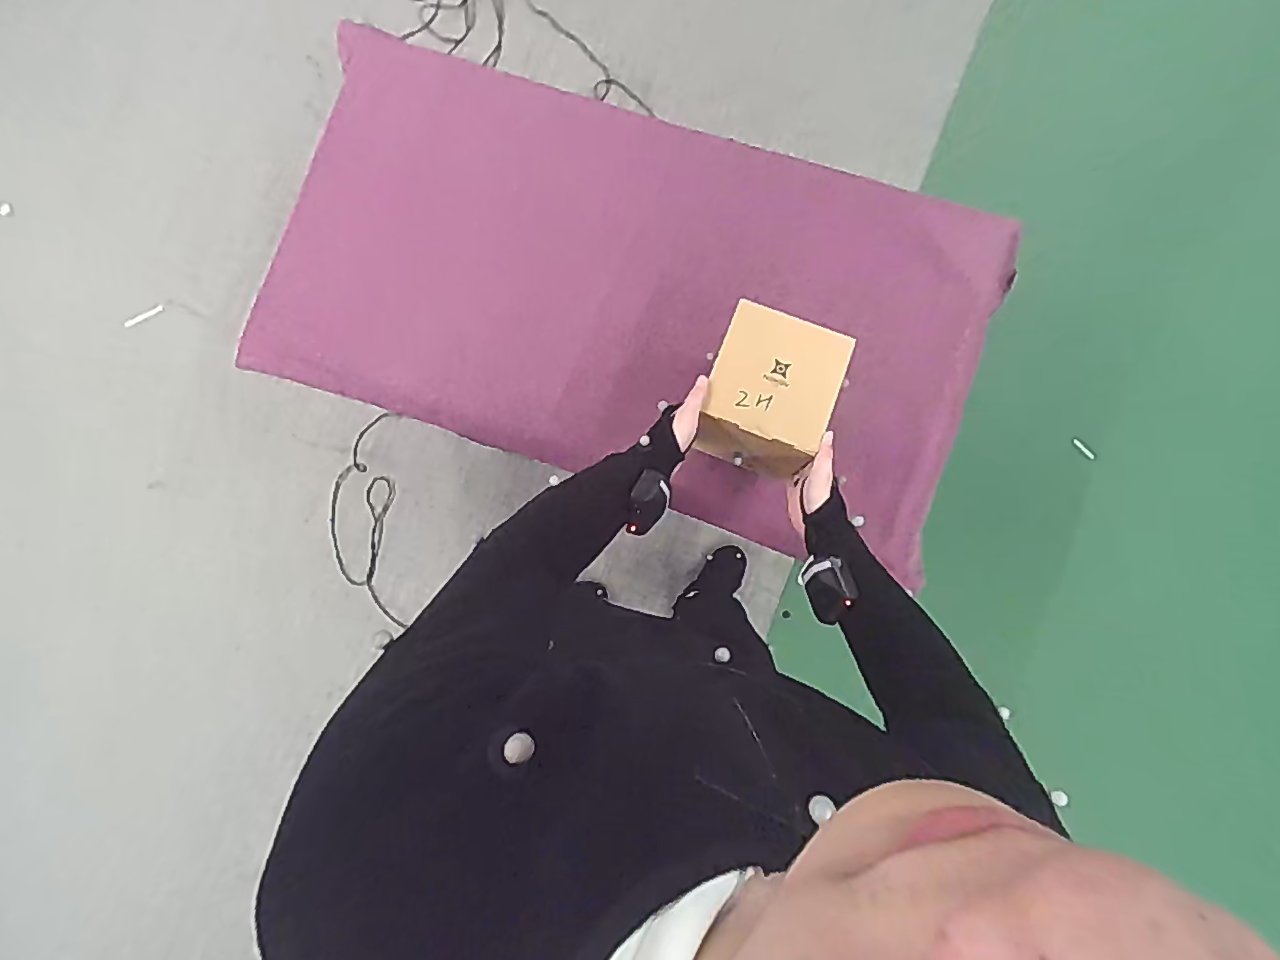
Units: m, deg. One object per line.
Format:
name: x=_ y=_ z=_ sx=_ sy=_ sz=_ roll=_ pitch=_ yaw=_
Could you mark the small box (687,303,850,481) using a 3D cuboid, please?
small box: x=0.174 y=-0.118 z=0.789 sx=0.168 sy=0.176 sz=0.179 roll=22 pitch=80 yaw=5
